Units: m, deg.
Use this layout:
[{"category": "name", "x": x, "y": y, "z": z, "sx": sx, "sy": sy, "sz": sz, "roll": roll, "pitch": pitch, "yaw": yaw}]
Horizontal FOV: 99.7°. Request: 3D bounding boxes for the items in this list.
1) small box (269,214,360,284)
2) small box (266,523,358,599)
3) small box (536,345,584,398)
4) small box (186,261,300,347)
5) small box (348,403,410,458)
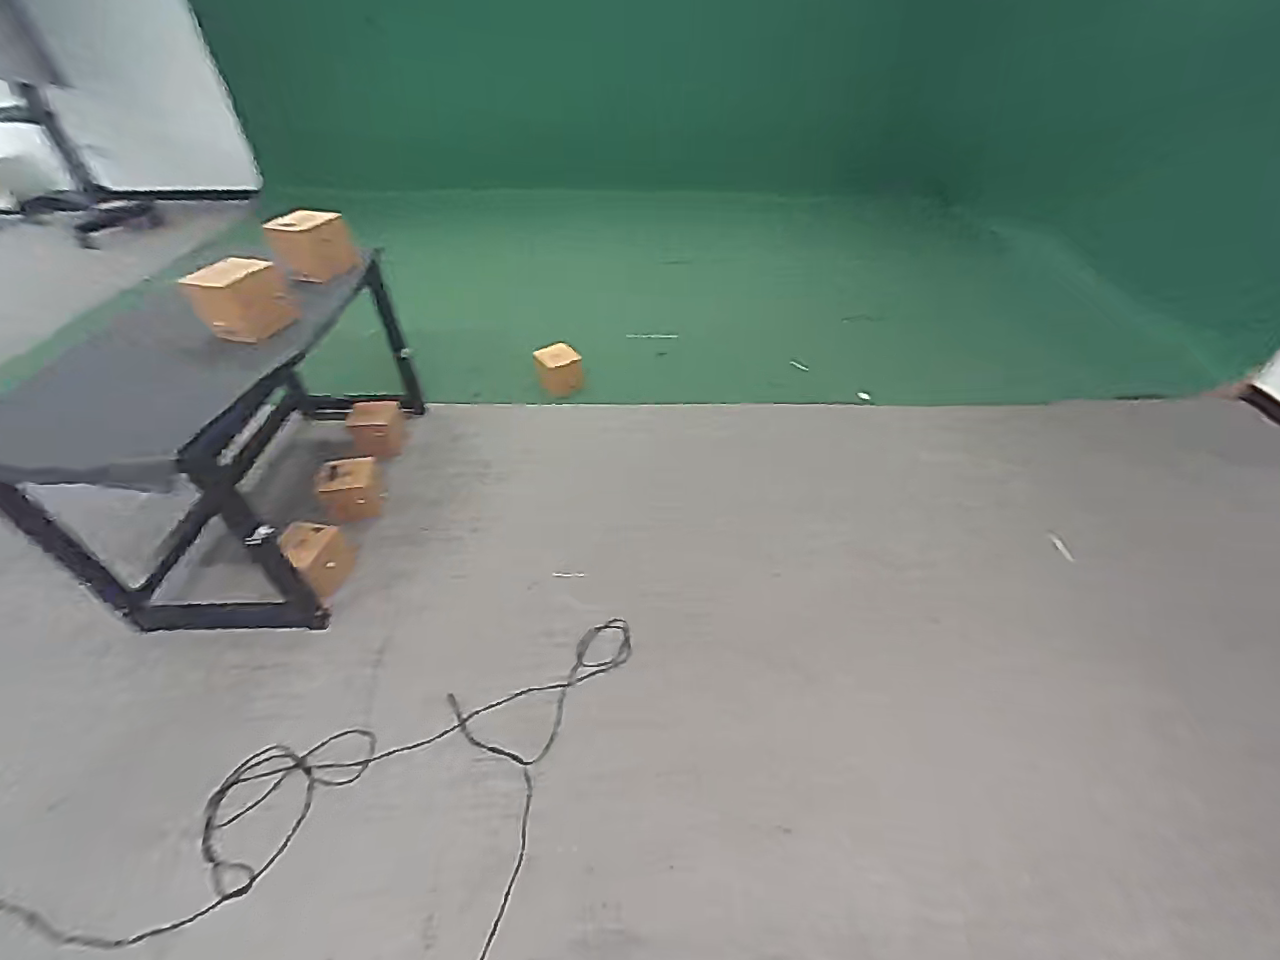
[{"category": "small box", "x": -1.091, "y": -0.780, "z": 1.830, "sx": 0.168, "sy": 0.176, "sz": 0.179, "roll": 13, "pitch": 46, "yaw": 16}, {"category": "small box", "x": -1.073, "y": 0.270, "z": 1.788, "sx": 0.168, "sy": 0.176, "sz": 0.179, "roll": 9, "pitch": 45, "yaw": 8}, {"category": "small box", "x": -0.389, "y": -0.527, "z": 2.634, "sx": 0.168, "sy": 0.176, "sz": 0.179, "roll": -26, "pitch": 50, "yaw": -25}, {"category": "small box", "x": -1.118, "y": -0.504, "z": 1.546, "sx": 0.168, "sy": 0.176, "sz": 0.179, "roll": 11, "pitch": 46, "yaw": 16}, {"category": "small box", "x": -1.098, "y": -0.209, "z": 2.291, "sx": 0.179, "sy": 0.176, "sz": 0.168, "roll": -4, "pitch": 43, "yaw": -4}]
